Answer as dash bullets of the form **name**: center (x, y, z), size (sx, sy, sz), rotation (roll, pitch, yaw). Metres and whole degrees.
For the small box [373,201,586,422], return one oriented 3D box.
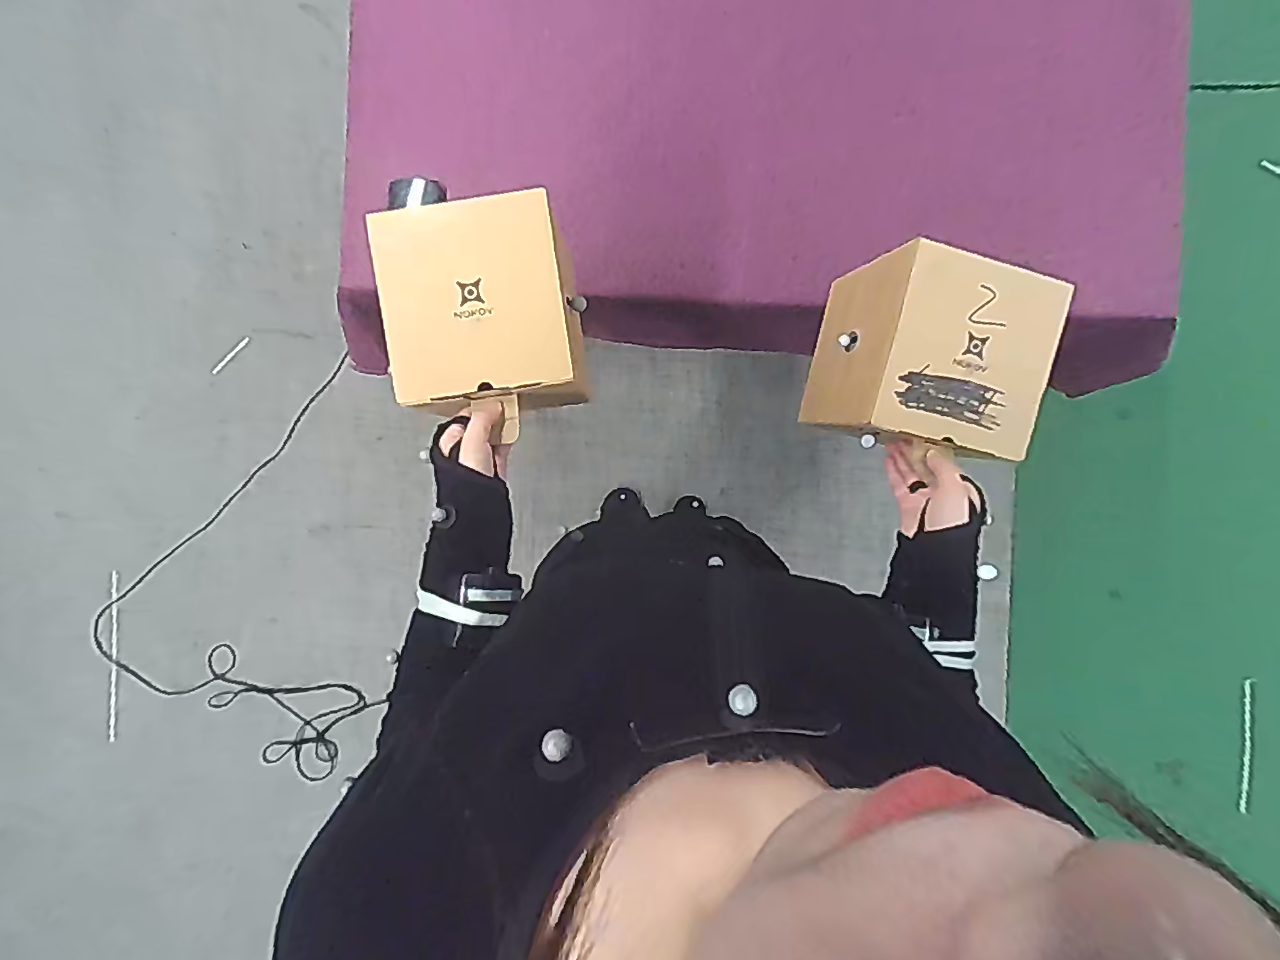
- **small box**: center (-0.155, -0.163, 0.576), size (0.168, 0.176, 0.179), rotation (-8, 92, 0)
